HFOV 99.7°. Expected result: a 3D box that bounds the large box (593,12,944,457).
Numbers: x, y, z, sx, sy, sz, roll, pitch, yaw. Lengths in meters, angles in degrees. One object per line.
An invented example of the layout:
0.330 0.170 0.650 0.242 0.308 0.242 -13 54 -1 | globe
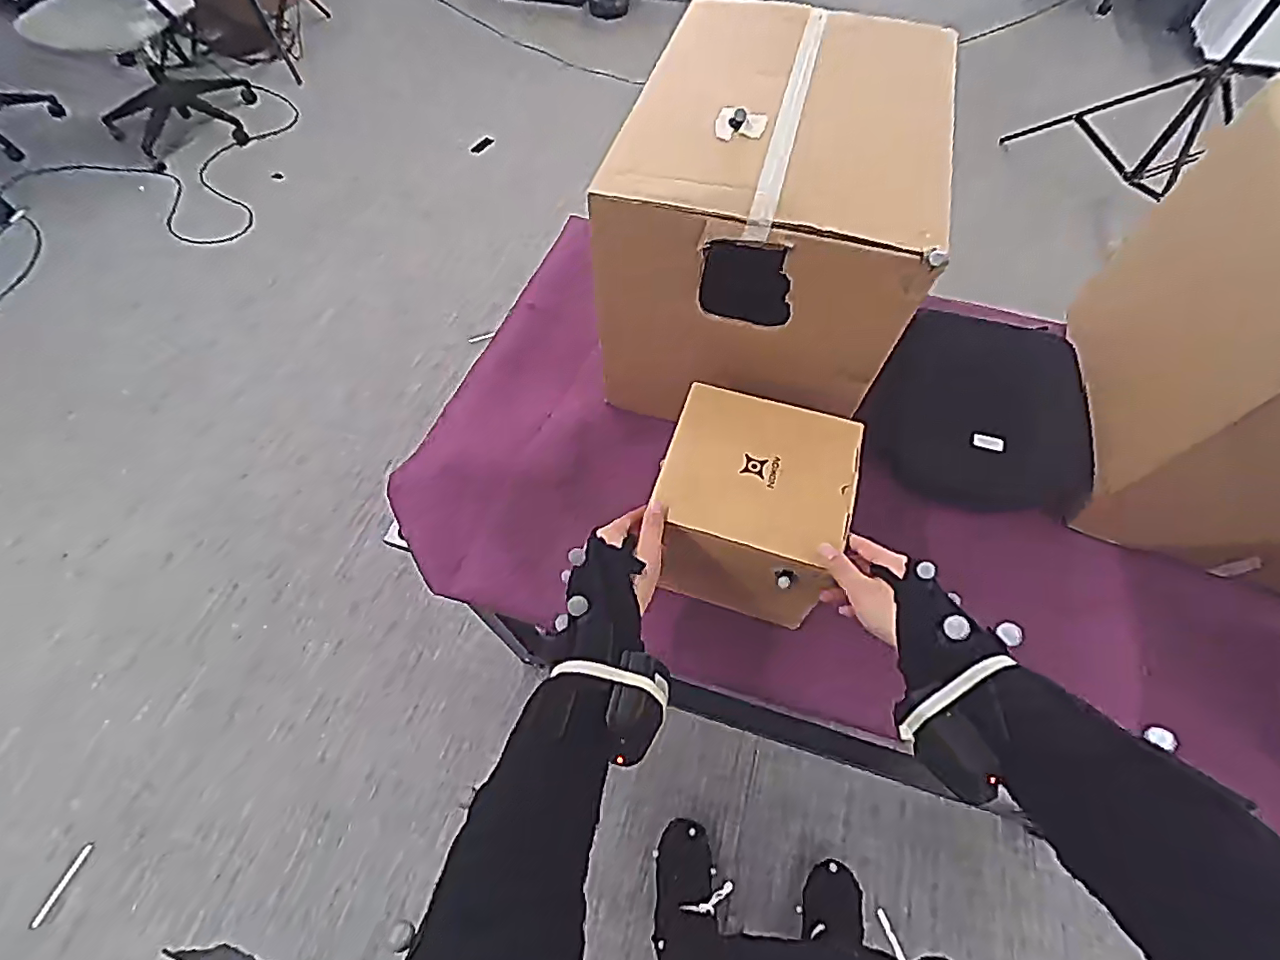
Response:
0.153 -0.299 0.687 0.320 0.320 0.408 14 63 8 | large box
